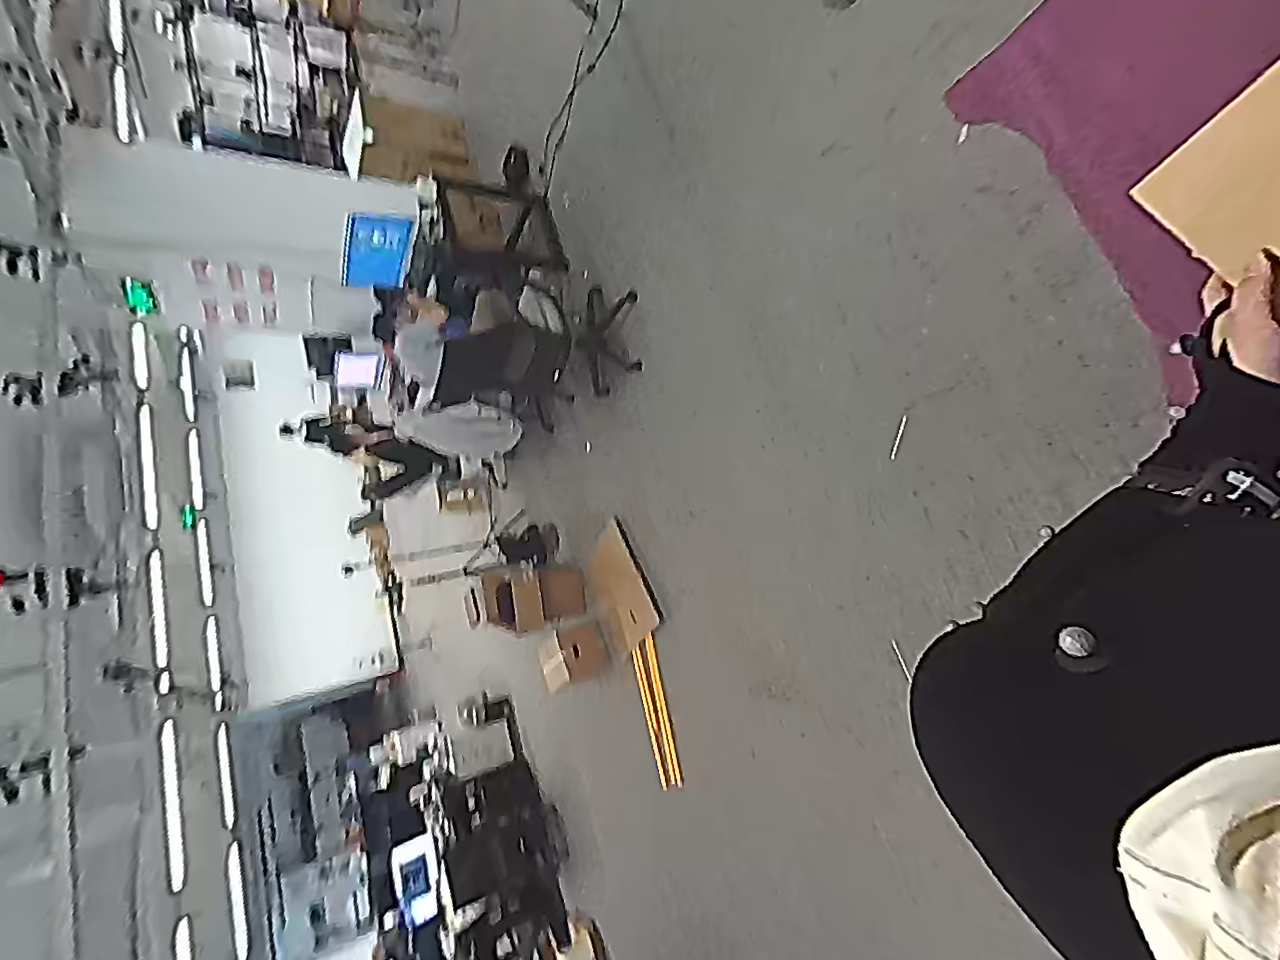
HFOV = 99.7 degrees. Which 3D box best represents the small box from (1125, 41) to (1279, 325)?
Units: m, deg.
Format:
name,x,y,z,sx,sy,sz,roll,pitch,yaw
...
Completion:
name,x,y,z,sx,sy,sz,roll,pitch,yaw
small box,0.555,-0.257,0.419,0.179,0.176,0.168,57,156,14
